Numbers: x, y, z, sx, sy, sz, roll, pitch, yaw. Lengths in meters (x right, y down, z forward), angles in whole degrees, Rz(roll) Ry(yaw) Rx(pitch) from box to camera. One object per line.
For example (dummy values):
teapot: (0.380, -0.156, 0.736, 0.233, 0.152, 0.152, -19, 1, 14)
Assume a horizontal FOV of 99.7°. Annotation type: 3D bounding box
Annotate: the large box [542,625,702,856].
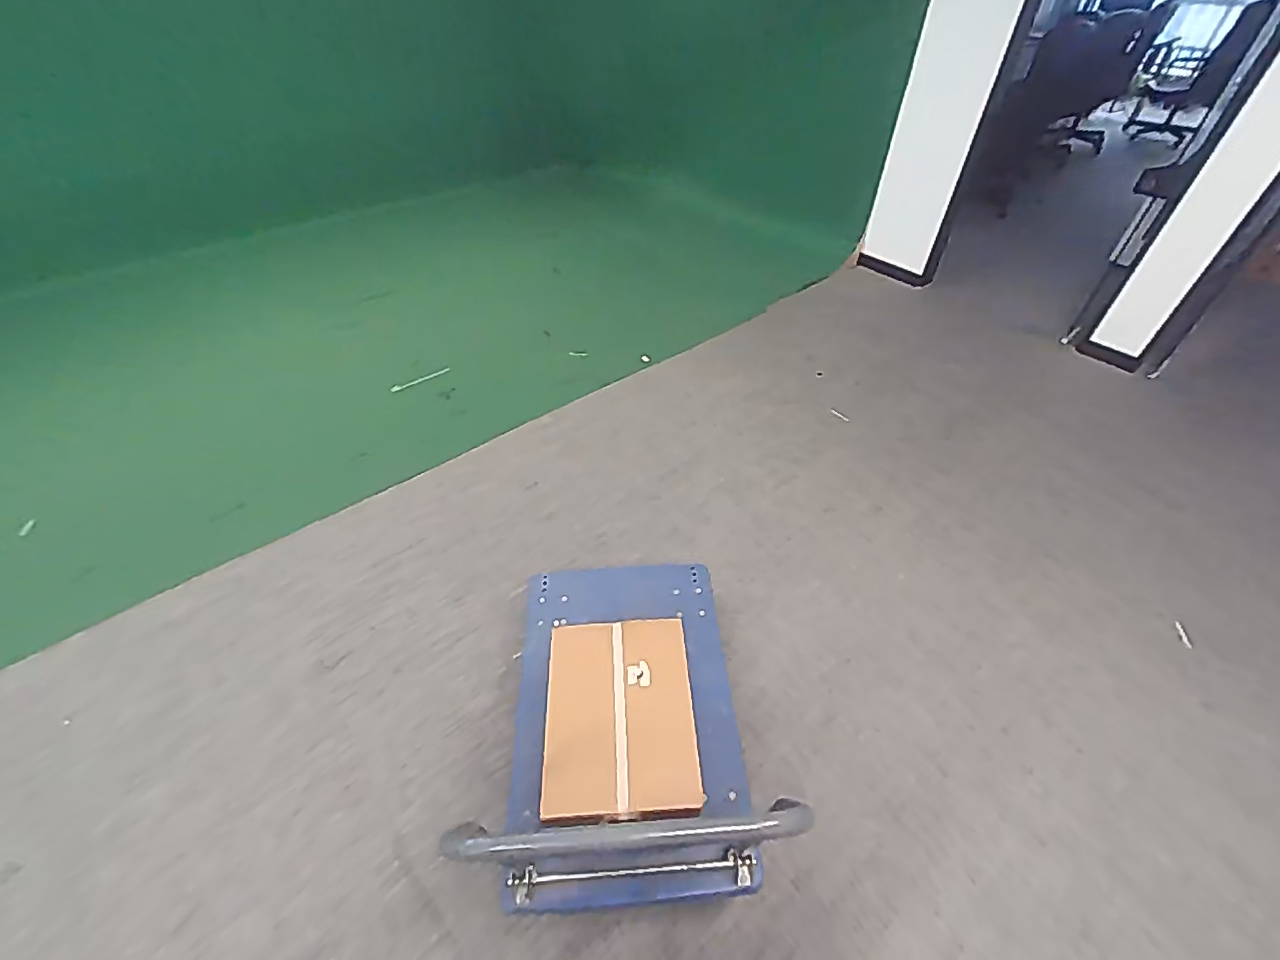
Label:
large box: (-0.040, 0.607, 1.274, 0.320, 0.320, 0.408, -3, 44, -1)
